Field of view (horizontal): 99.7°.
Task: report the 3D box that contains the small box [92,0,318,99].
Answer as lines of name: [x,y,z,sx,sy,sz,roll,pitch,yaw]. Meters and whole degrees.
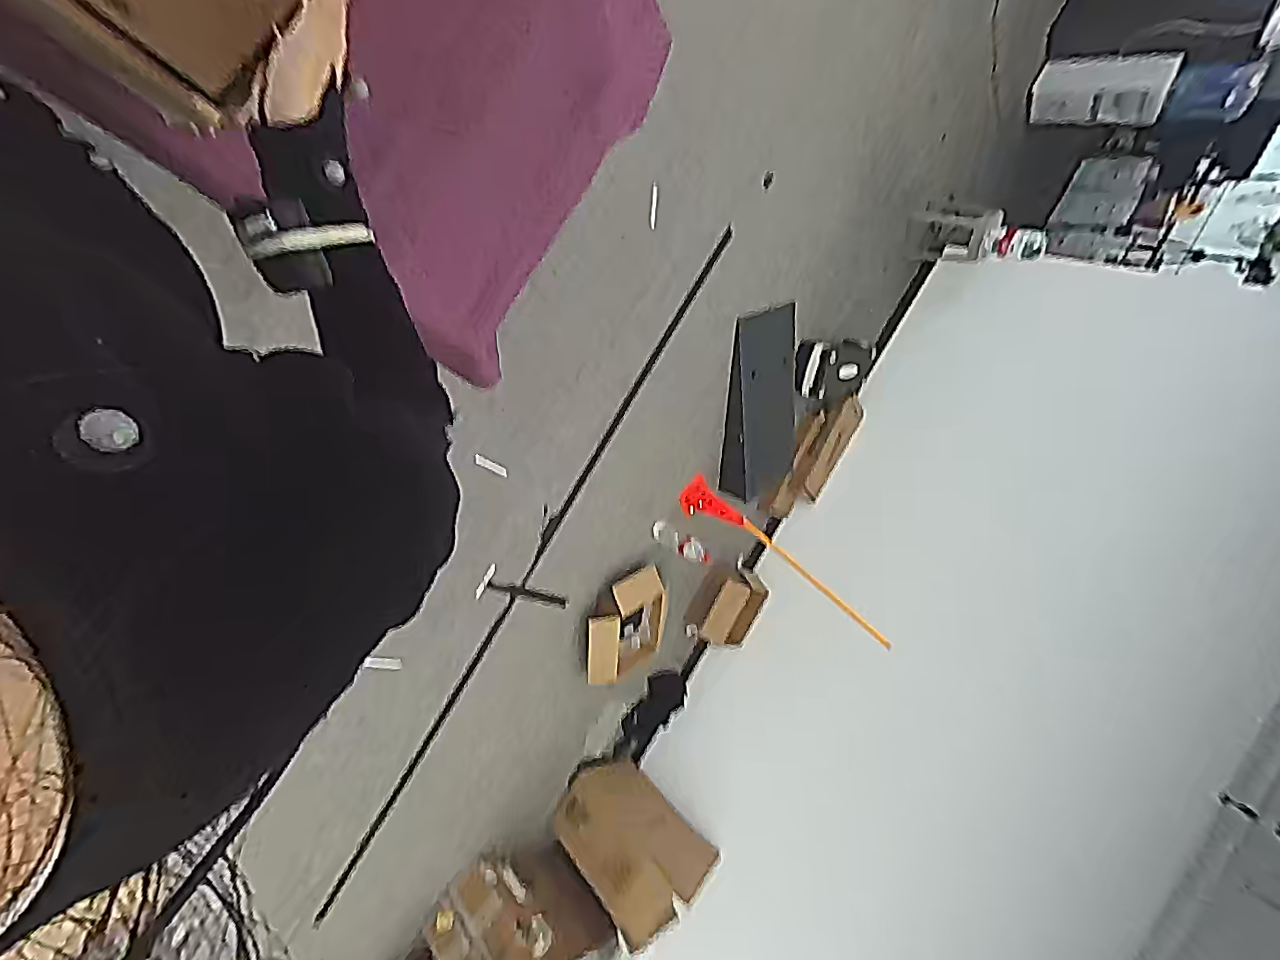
small box: [-0.286,-0.394,0.335,0.168,0.176,0.179,30,61,-51]
